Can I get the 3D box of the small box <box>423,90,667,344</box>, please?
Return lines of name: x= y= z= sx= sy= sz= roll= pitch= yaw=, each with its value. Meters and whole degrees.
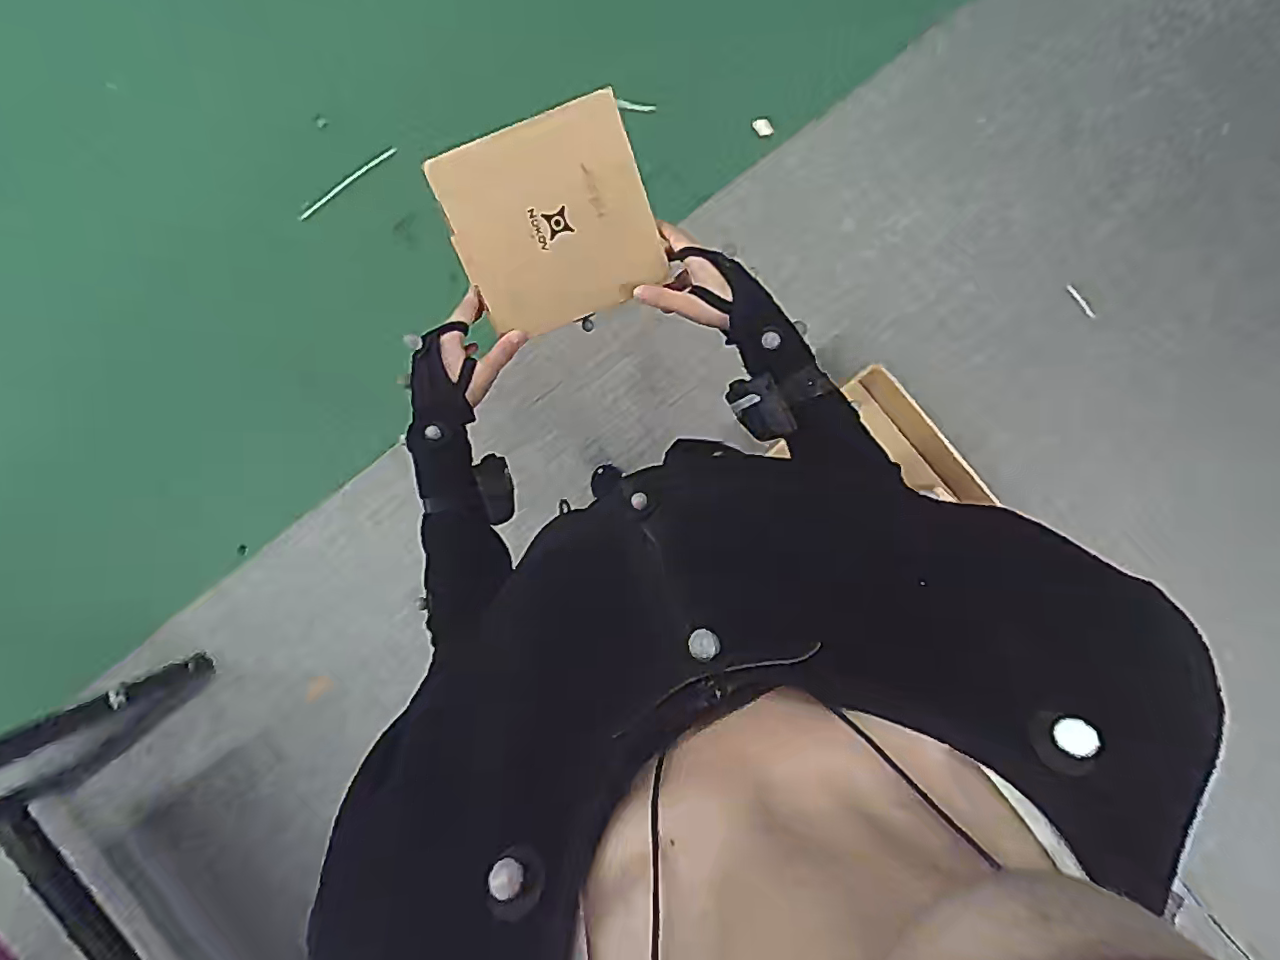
small box: x=-0.086 y=-0.253 z=0.563 sx=0.179 sy=0.176 sz=0.168 roll=-22 pitch=108 yaw=3
